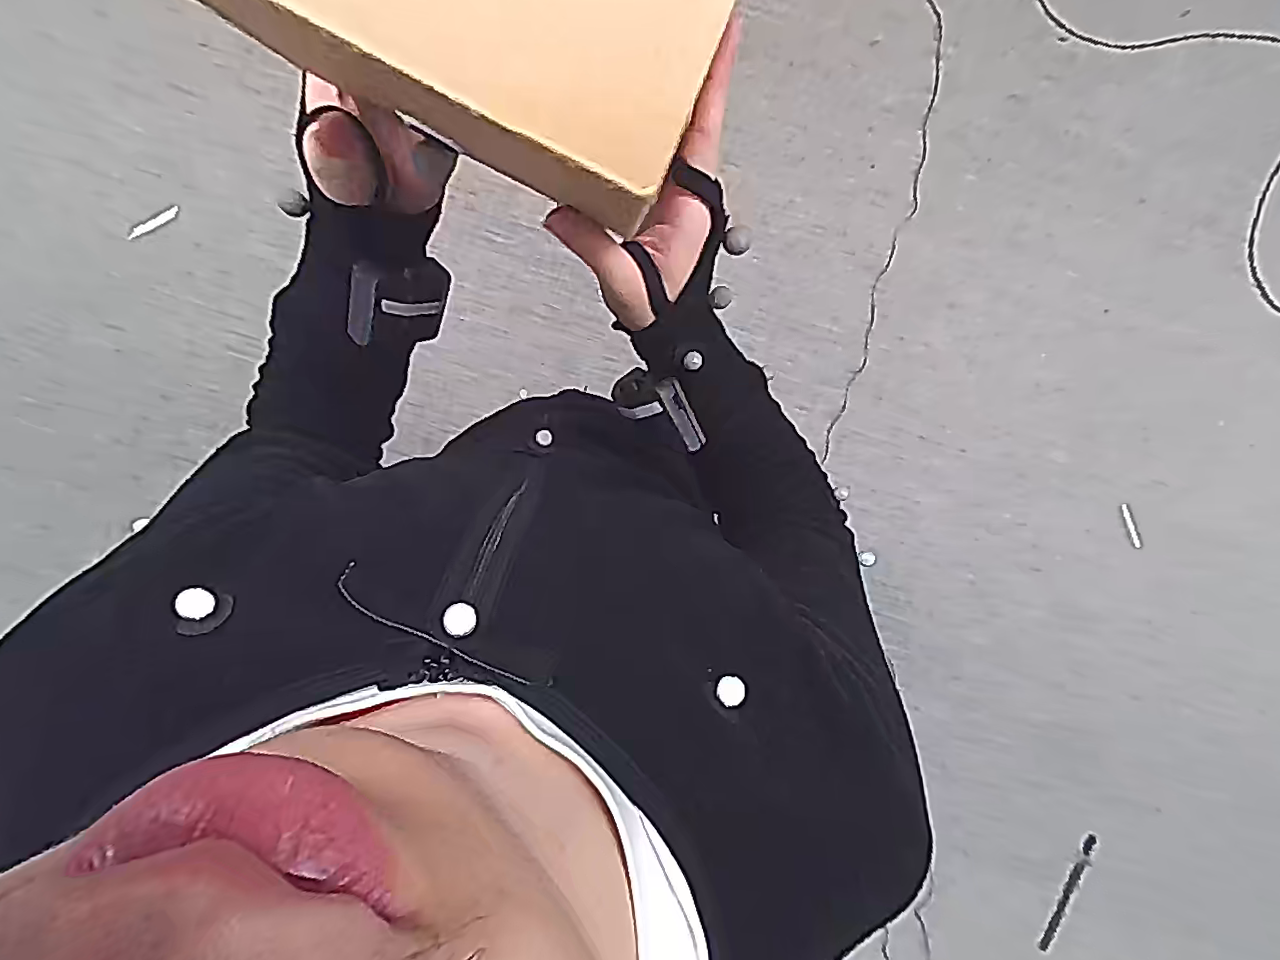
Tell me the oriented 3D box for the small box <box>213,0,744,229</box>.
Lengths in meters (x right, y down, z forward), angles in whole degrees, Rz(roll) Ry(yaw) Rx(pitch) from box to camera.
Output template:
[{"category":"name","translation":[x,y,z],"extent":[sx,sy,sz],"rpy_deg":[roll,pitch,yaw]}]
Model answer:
[{"category":"small box","translation":[-0.038,-0.208,0.181],"extent":[0.168,0.176,0.179],"rpy_deg":[21,109,-10]}]
